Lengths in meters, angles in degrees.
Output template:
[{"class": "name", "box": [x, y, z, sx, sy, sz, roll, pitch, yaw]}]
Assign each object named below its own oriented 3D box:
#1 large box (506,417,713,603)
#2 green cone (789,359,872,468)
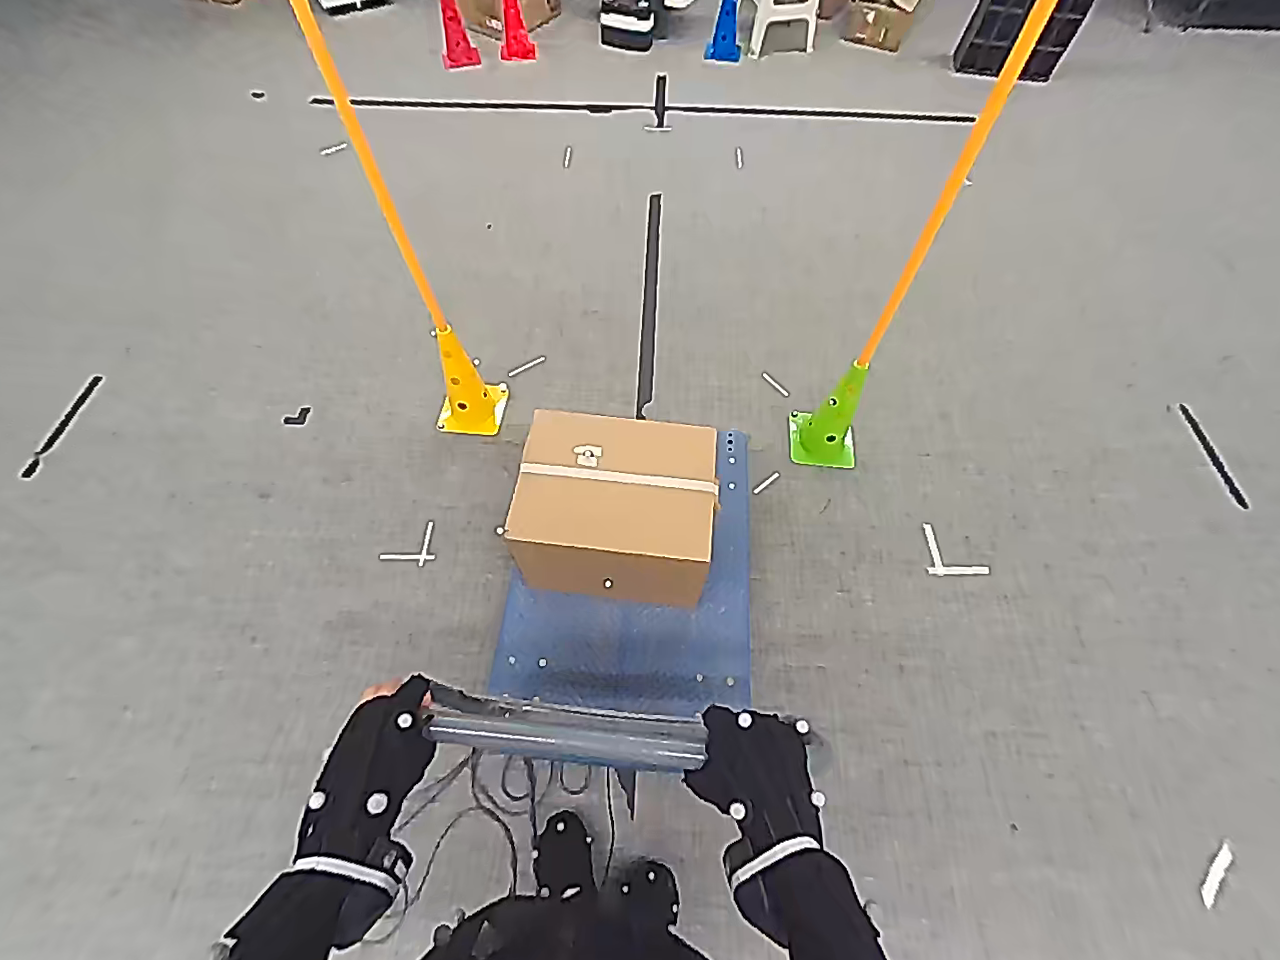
[{"class": "large box", "box": [-0.049, 0.080, 1.252, 0.408, 0.320, 0.320, 6, 61, 4]}, {"class": "green cone", "box": [0.589, -0.217, 1.598, 0.202, 0.368, 0.200, 6, 60, 1]}]
